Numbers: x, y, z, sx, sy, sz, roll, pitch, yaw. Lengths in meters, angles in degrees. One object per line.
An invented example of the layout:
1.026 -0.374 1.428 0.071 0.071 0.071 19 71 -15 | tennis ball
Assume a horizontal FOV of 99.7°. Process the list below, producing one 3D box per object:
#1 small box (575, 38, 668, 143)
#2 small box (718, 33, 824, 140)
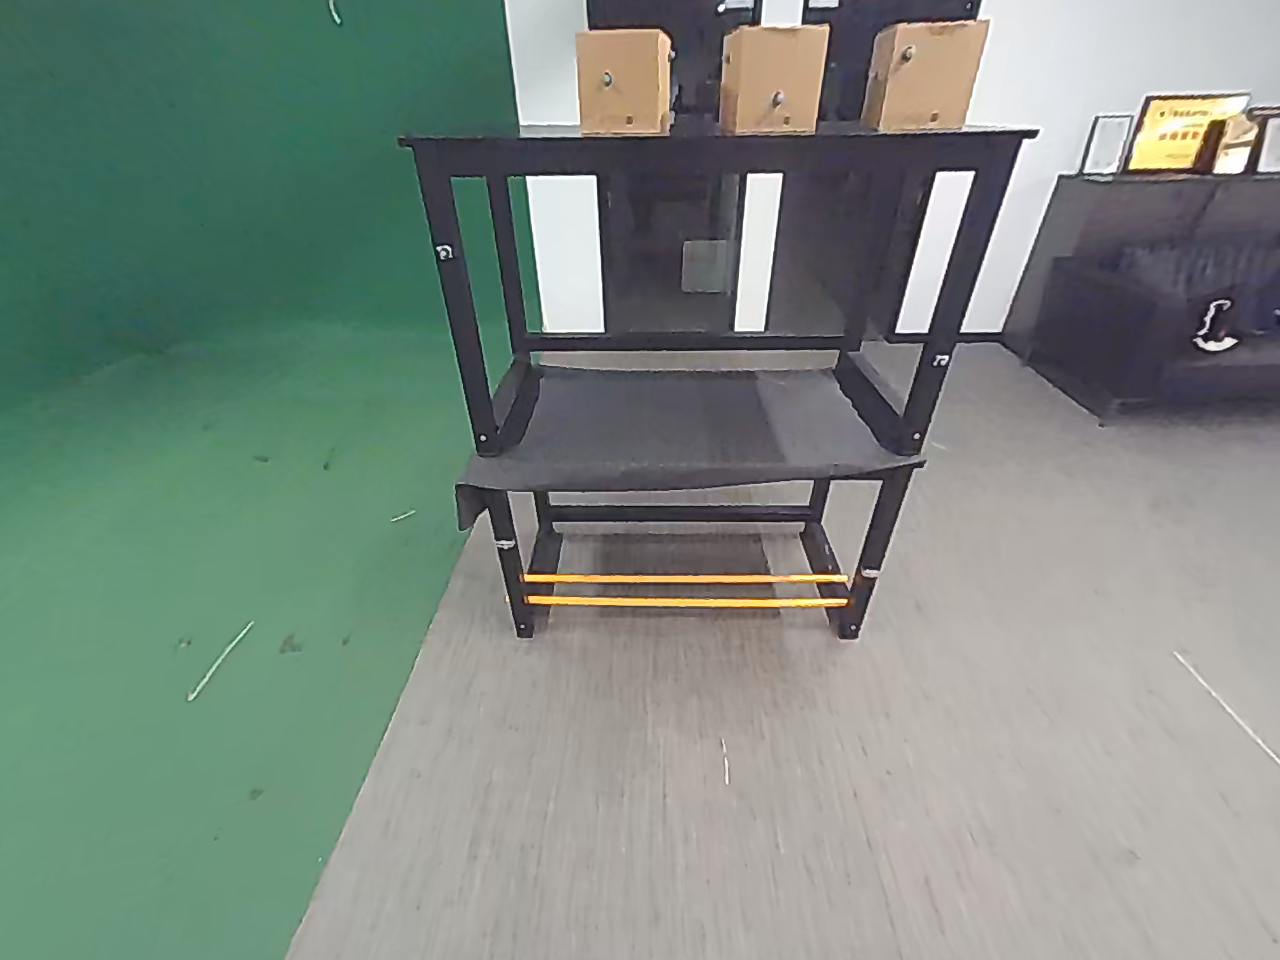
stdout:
-0.031 -0.820 1.149 0.168 0.176 0.179 4 34 8 | small box
0.262 -0.813 1.127 0.168 0.176 0.179 -3 34 -3 | small box
